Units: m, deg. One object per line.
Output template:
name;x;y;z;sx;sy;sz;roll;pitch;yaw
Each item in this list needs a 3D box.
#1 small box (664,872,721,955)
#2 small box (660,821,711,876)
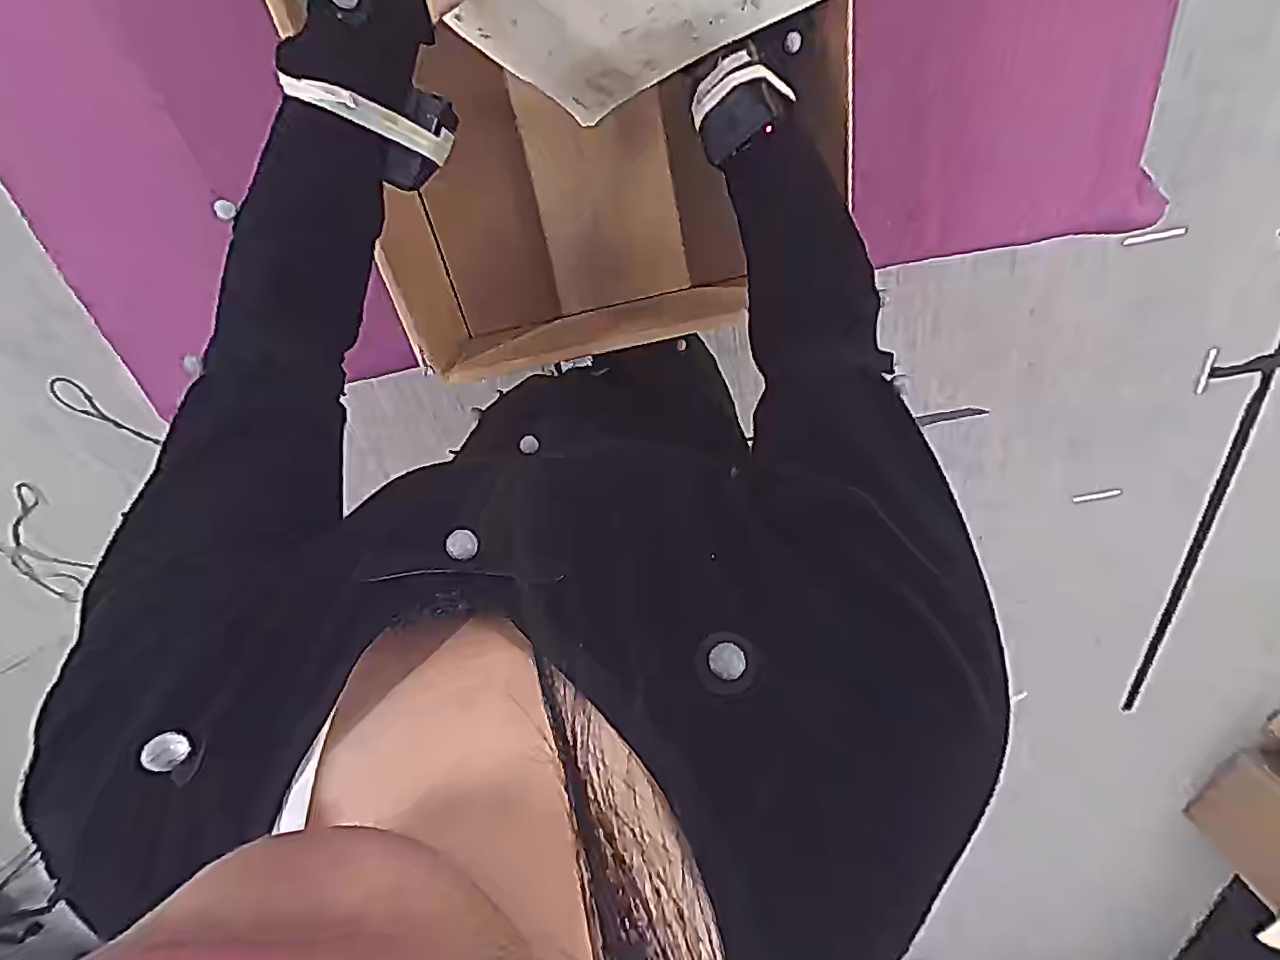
small box;0.175;1.458;1.830;0.168;0.176;0.179;-8;119;1
small box;0.164;1.369;1.967;0.168;0.176;0.179;-6;120;-1
